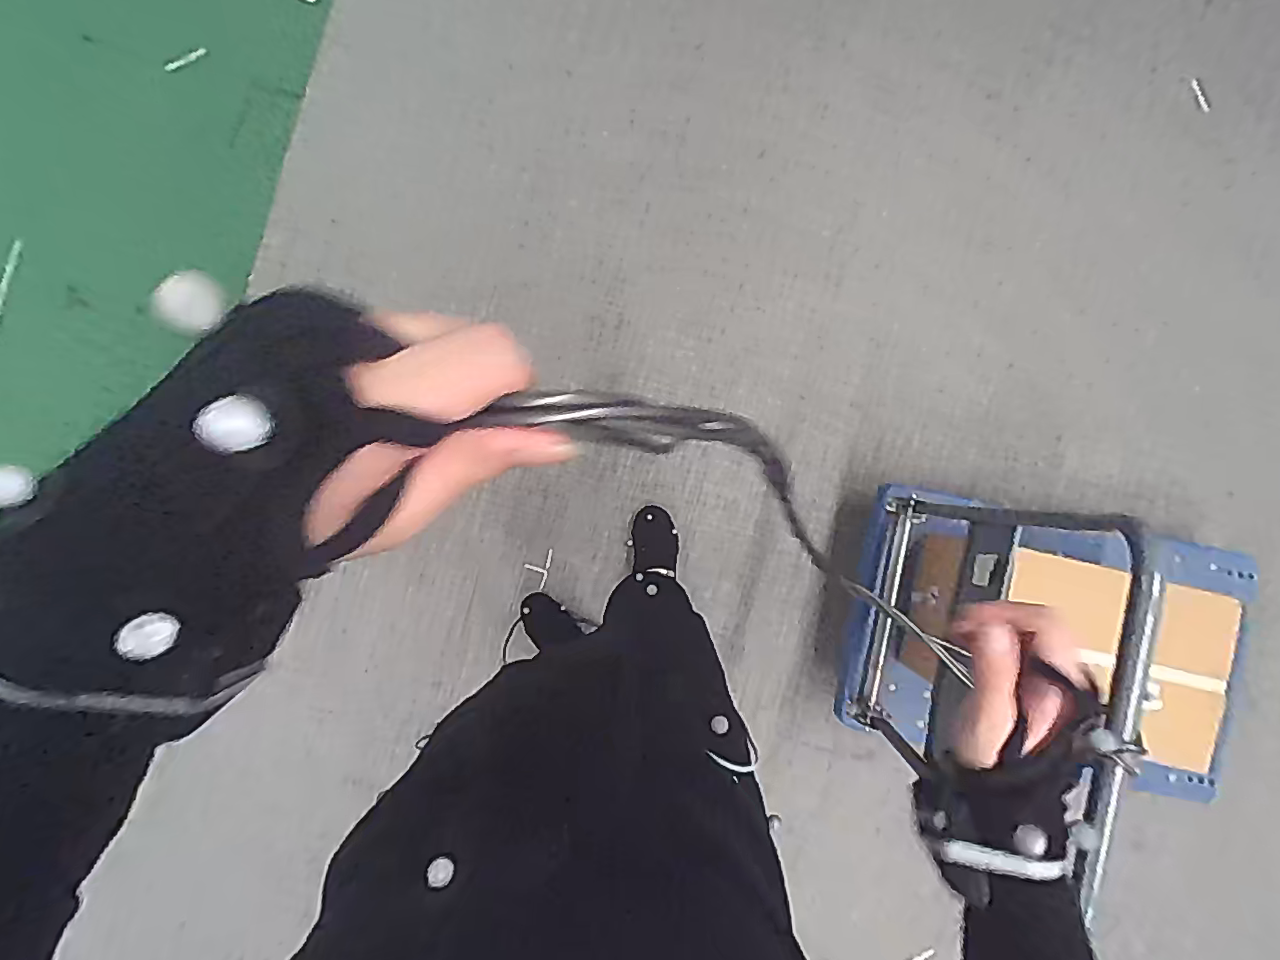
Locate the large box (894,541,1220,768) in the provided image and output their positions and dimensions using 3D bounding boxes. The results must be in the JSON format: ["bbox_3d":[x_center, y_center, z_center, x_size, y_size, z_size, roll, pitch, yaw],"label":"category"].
[{"bbox_3d":[0.805,0.324,1.105,0.408,0.320,0.320,13,89,0],"label":"large box"}]
